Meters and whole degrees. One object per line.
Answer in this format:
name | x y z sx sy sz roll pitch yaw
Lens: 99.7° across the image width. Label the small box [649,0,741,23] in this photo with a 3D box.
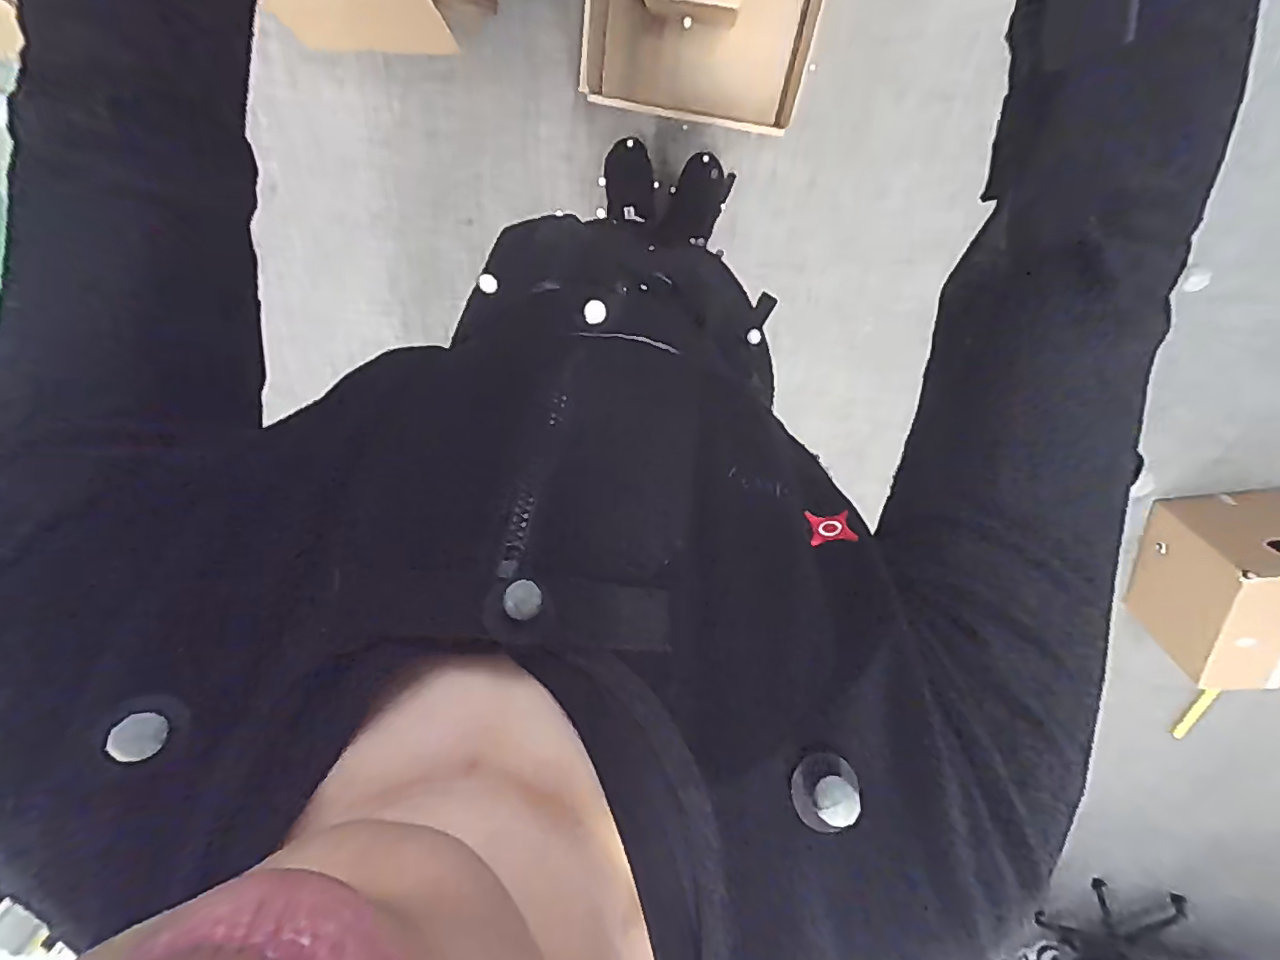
small box | 0.099 -0.895 0.895 0.168 0.176 0.179 9 123 1
